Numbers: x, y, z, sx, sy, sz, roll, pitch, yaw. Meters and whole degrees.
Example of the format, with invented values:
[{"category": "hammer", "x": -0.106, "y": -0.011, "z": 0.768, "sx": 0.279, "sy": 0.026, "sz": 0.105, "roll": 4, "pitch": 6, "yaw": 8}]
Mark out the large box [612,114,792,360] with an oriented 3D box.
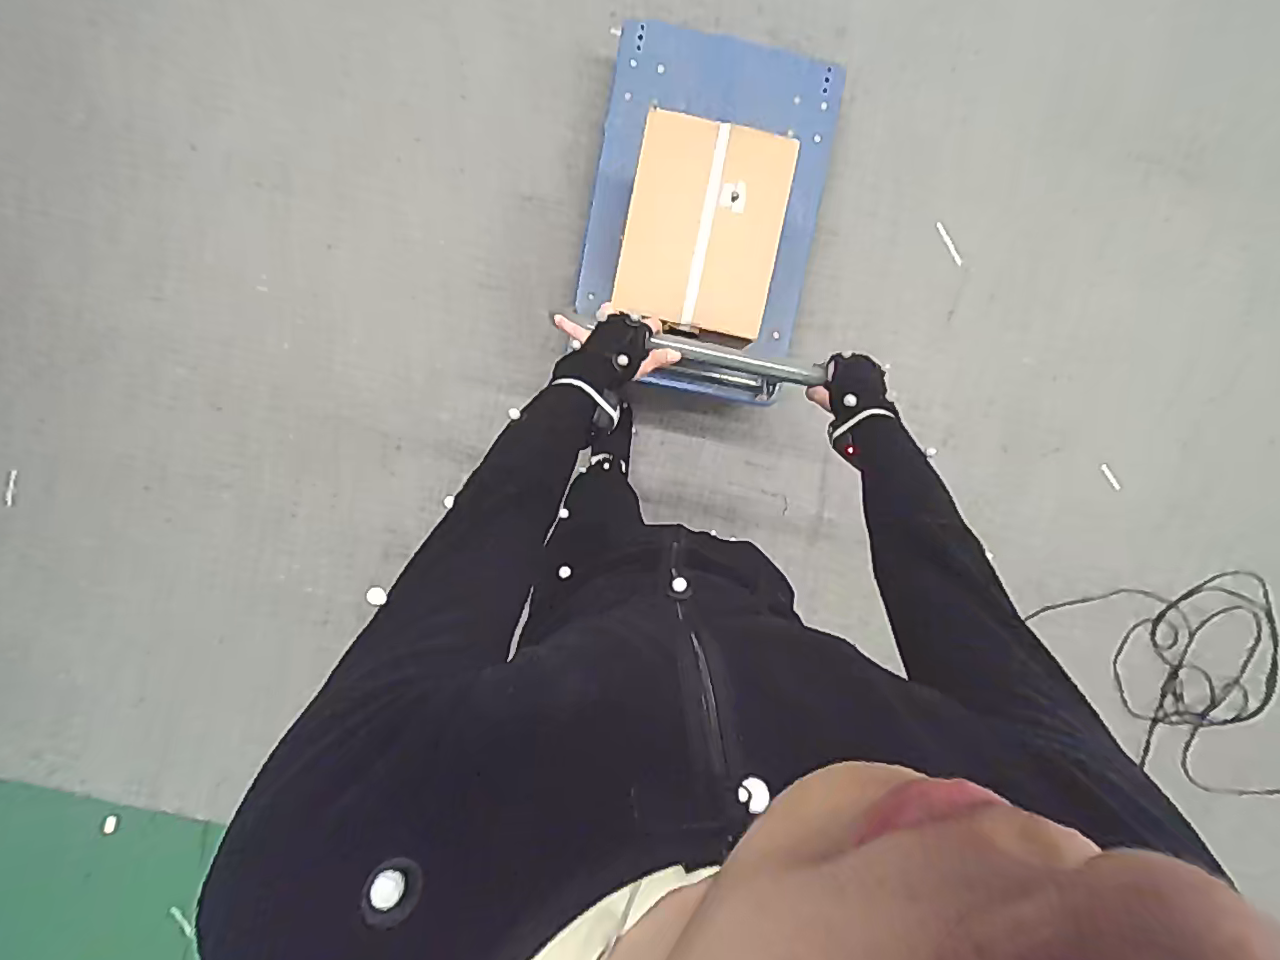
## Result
[{"category": "large box", "x": 0.121, "y": -0.521, "z": 1.246, "sx": 0.320, "sy": 0.320, "sz": 0.408, "roll": 11, "pitch": 93, "yaw": -4}]
